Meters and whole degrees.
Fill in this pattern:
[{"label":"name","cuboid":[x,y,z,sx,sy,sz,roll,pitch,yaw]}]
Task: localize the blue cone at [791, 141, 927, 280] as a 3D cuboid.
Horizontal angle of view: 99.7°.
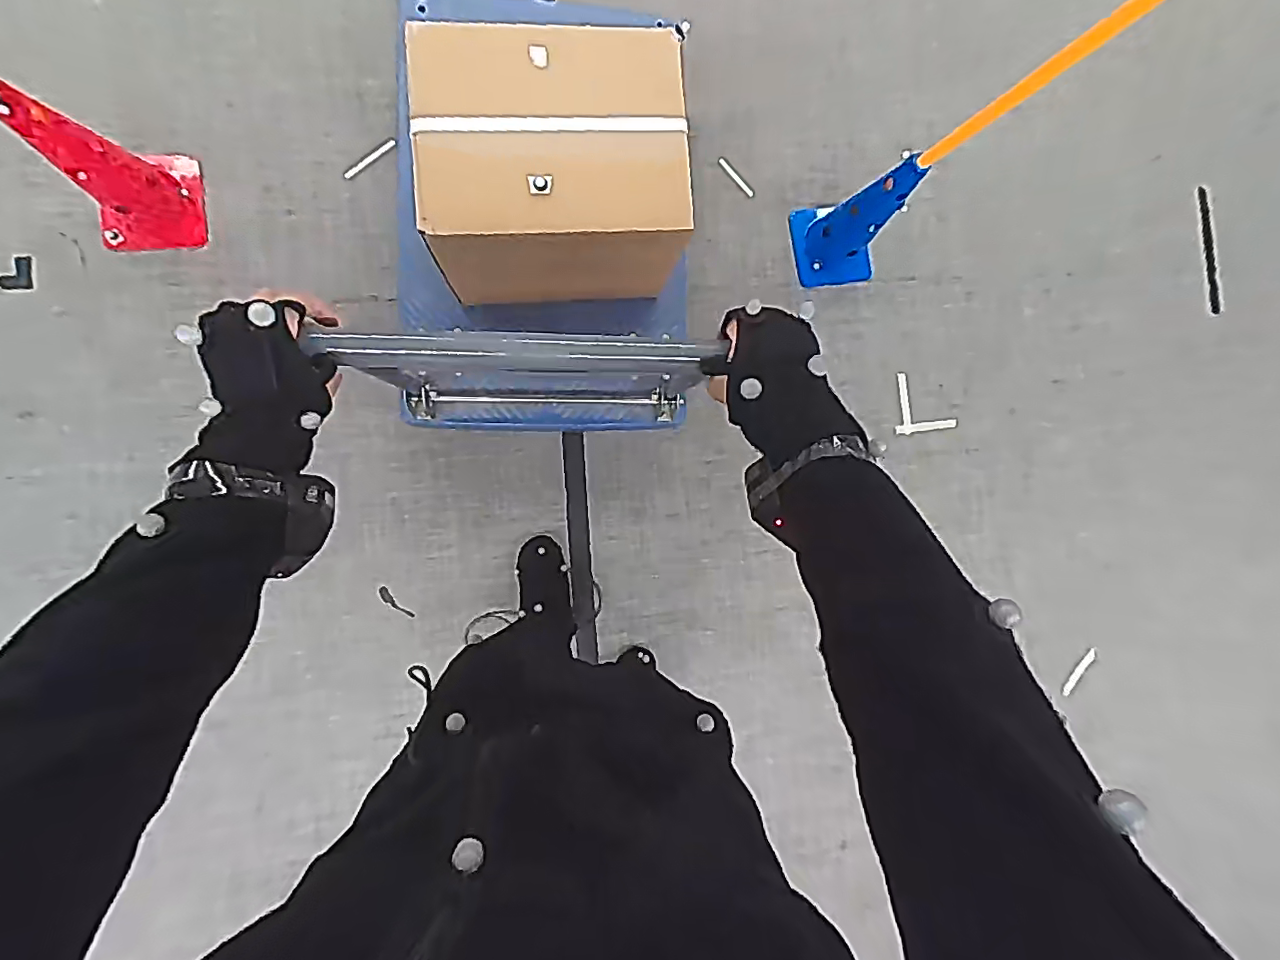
[{"label":"blue cone","cuboid":[0.506,-0.611,1.209,0.193,0.380,0.192,-9,89,-9]}]
